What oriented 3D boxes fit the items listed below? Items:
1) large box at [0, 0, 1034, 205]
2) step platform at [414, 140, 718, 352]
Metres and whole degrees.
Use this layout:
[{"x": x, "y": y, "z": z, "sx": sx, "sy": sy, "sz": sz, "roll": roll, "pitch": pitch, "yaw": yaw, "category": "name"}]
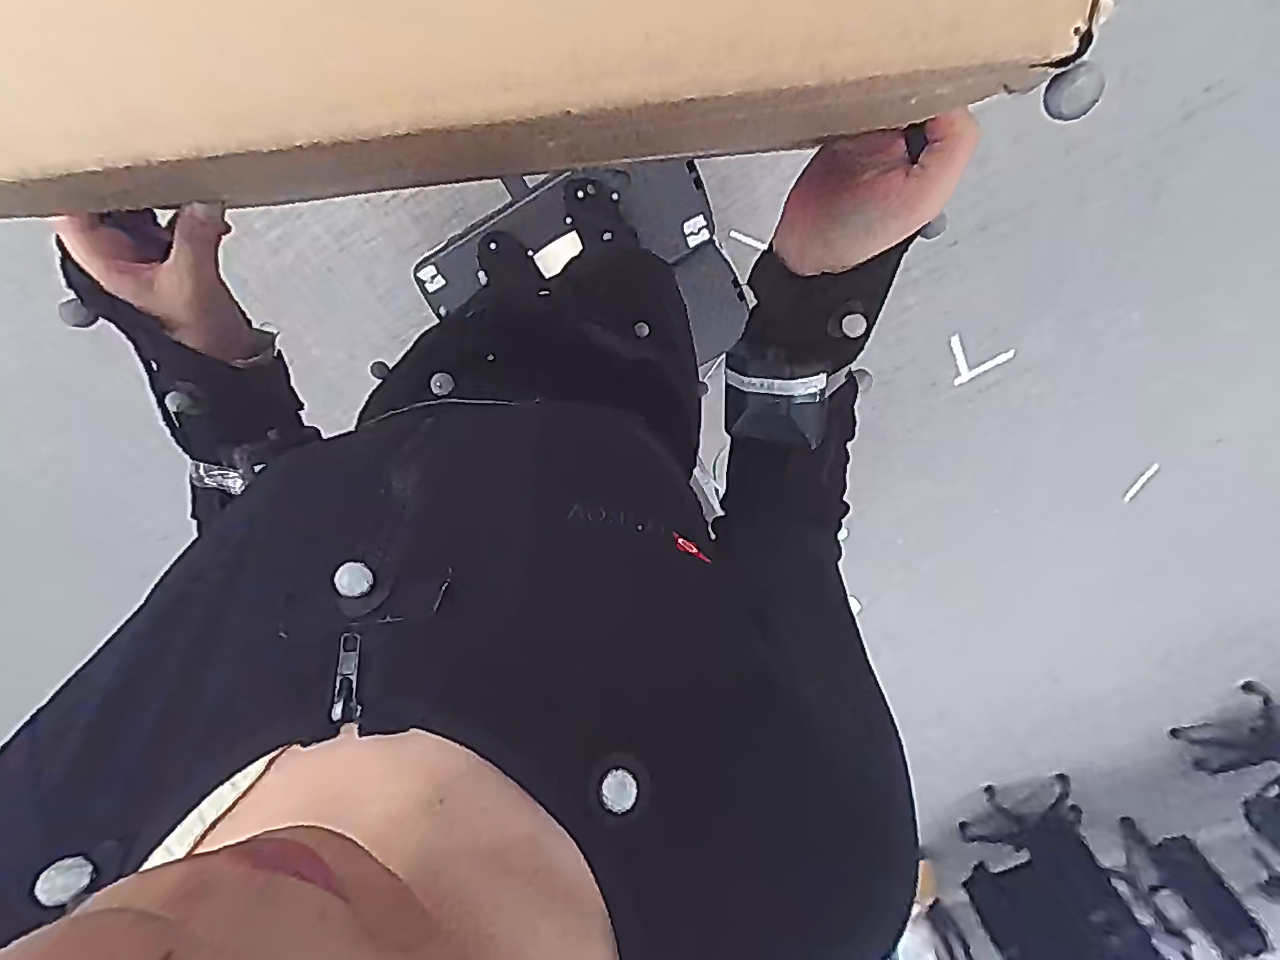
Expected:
[{"x": -0.106, "y": -0.302, "z": 0.204, "sx": 0.408, "sy": 0.320, "sz": 0.320, "roll": -3, "pitch": 120, "yaw": 8, "category": "large box"}, {"x": -0.167, "y": -0.563, "z": 1.259, "sx": 0.684, "sy": 0.204, "sz": 0.286, "roll": -22, "pitch": 121, "yaw": 10, "category": "step platform"}]
